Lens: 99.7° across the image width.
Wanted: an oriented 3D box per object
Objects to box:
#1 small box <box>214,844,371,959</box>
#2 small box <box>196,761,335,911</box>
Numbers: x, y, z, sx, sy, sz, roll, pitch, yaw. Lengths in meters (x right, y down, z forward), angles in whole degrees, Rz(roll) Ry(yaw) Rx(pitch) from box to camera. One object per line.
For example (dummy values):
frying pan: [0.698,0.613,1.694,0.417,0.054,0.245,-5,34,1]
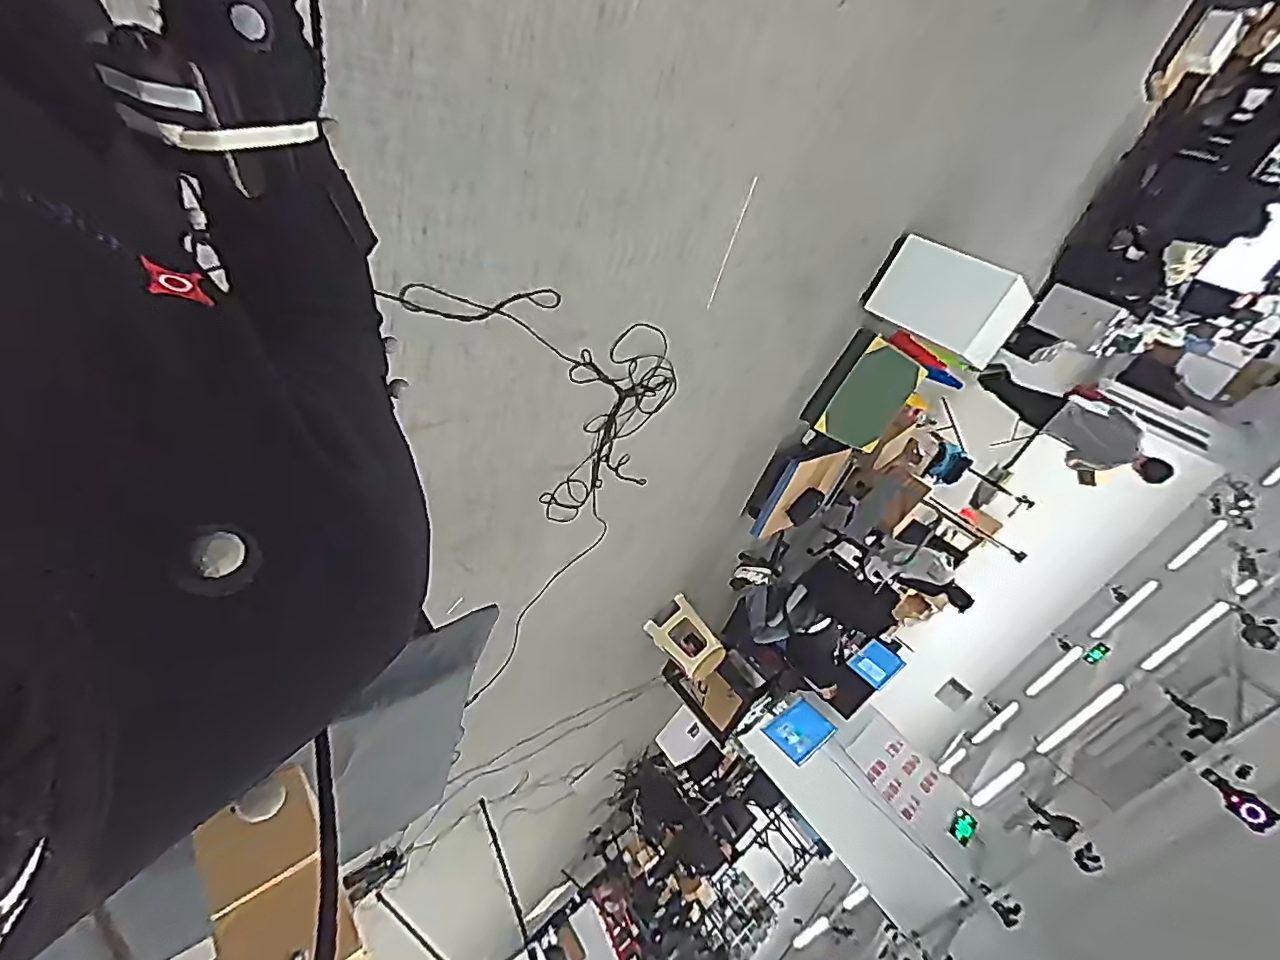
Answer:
small box: [-0.571,0.758,0.899,0.179,0.176,0.168,-17,137,-38]
small box: [-0.665,0.650,0.977,0.168,0.176,0.179,-21,140,-36]
